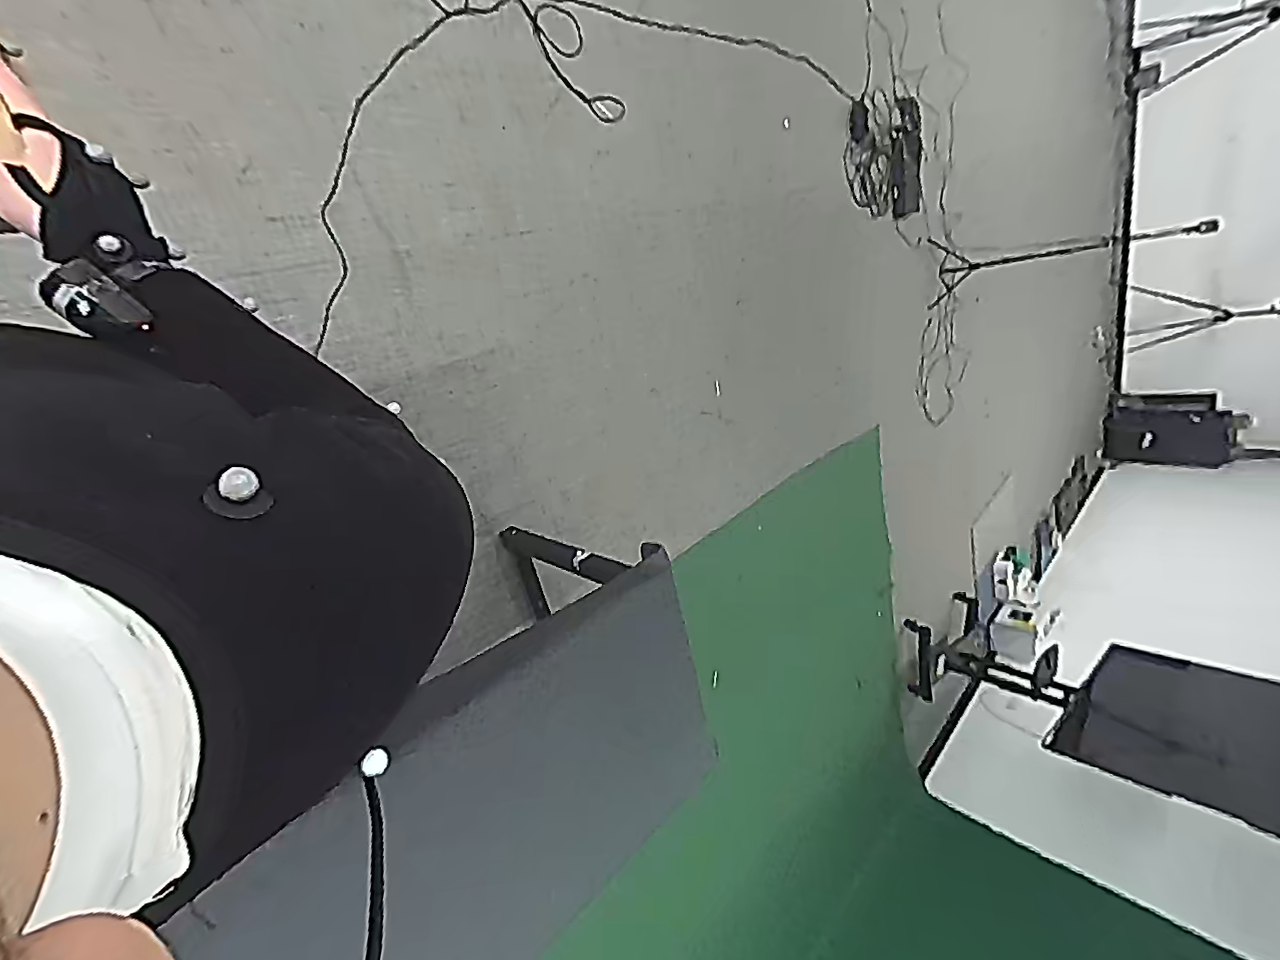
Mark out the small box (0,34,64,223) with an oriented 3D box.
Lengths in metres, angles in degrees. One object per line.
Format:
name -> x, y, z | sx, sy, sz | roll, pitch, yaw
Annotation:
small box -> -0.591, -0.301, 0.404 | 0.179, 0.176, 0.168 | -21, 106, -30
